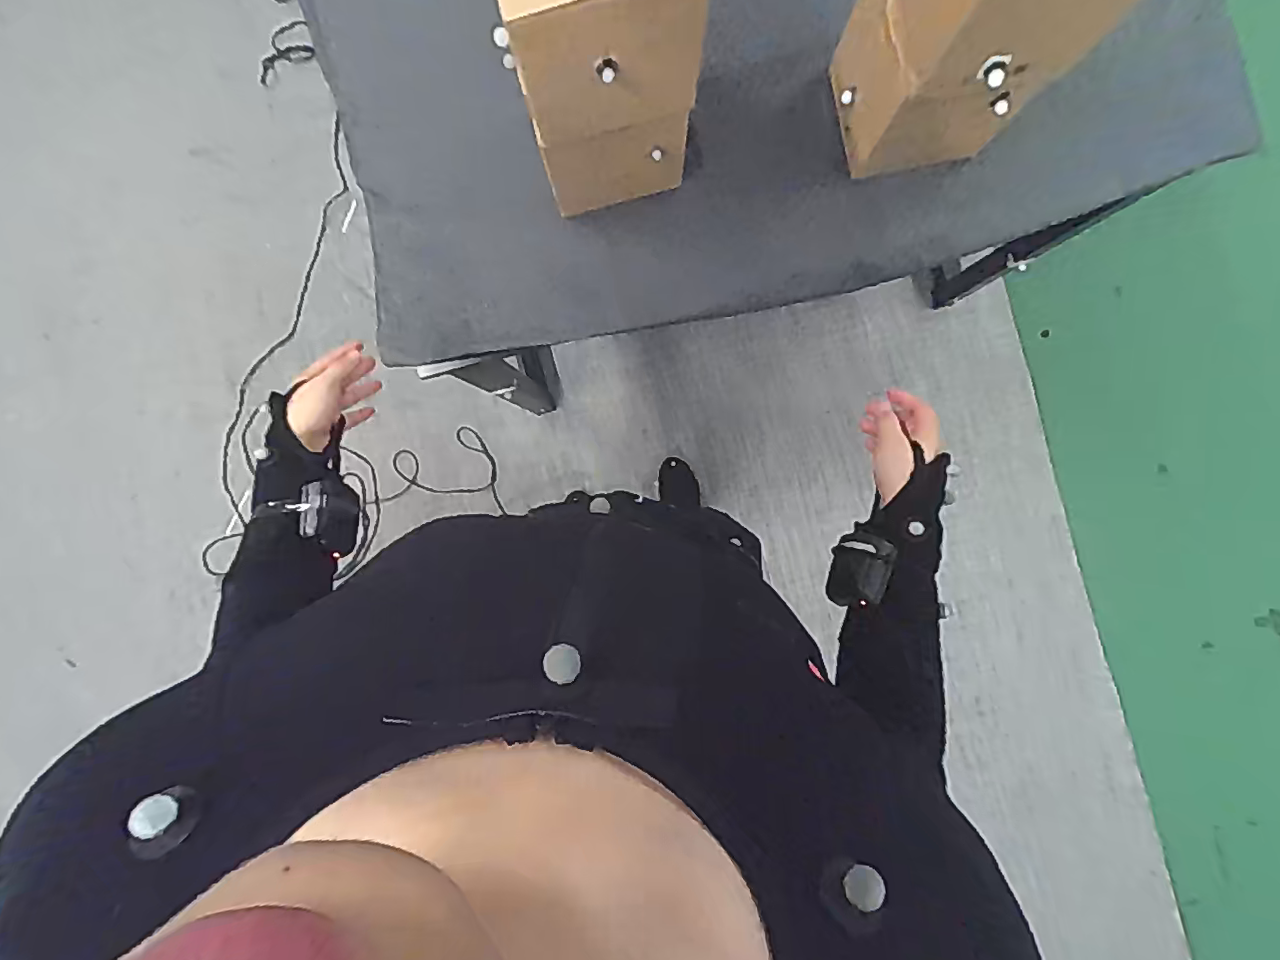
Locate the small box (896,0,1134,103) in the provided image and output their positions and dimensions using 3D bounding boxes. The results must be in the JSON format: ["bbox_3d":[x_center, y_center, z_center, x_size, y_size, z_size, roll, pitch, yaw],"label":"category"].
[{"bbox_3d":[0.353,-0.502,0.501,0.168,0.176,0.179,-9,91,3],"label":"small box"}]

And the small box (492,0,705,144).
[{"bbox_3d":[-0.048,-0.462,0.510,0.179,0.176,0.168,-15,90,2],"label":"small box"}]

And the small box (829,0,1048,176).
[{"bbox_3d":[0.357,-0.510,0.663,0.179,0.176,0.168,-11,89,2],"label":"small box"}]
